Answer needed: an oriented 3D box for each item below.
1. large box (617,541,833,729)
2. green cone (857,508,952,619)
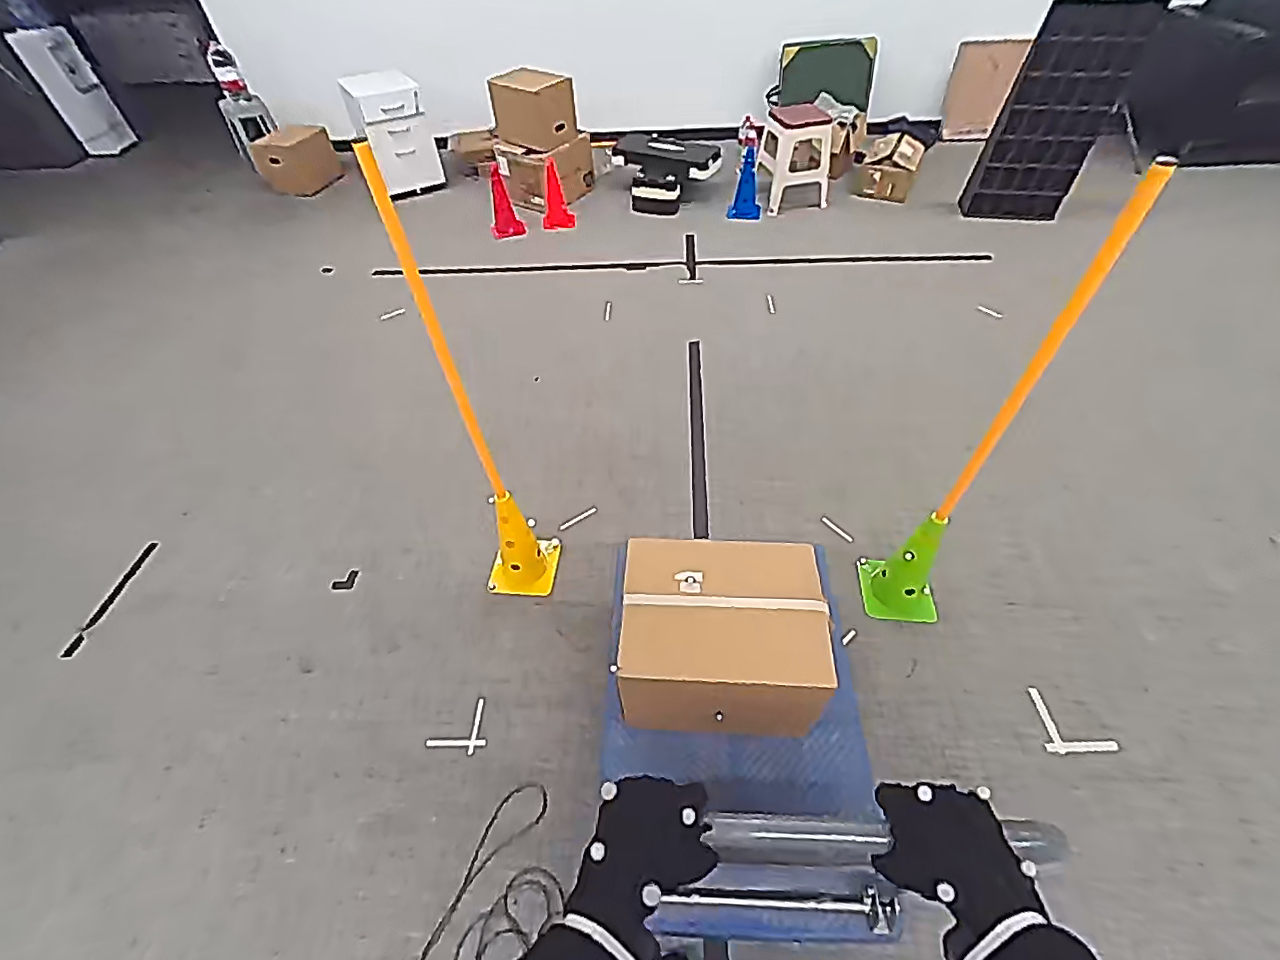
[{"bbox_3d":[0.172,0.348,1.204,0.408,0.320,0.320,1,49,5],"label":"large box"},{"bbox_3d":[0.761,0.206,1.488,0.202,0.368,0.200,4,49,4],"label":"green cone"}]
